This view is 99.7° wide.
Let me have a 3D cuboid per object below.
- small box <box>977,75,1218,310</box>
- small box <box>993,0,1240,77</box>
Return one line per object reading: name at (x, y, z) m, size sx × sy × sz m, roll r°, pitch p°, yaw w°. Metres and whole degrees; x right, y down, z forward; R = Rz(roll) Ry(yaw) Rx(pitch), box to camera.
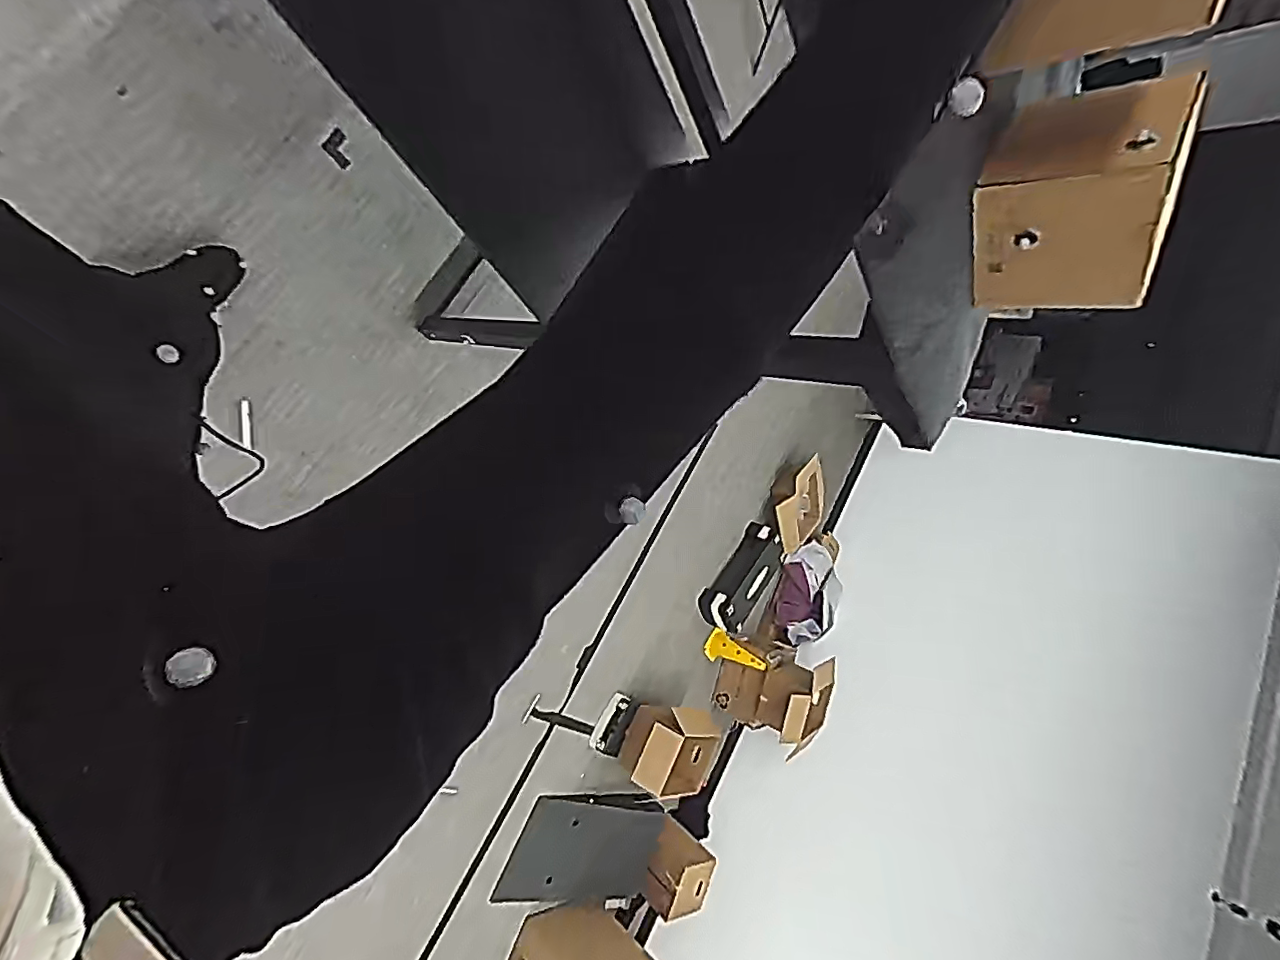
small box at (0.513, -0.320, 0.626) m, size 0.179 × 0.176 × 0.168 m, roll -56°, pitch 137°, yaw -19°
small box at (0.423, -0.489, 0.464) m, size 0.168 × 0.176 × 0.179 m, roll -47°, pitch 134°, yaw -27°
